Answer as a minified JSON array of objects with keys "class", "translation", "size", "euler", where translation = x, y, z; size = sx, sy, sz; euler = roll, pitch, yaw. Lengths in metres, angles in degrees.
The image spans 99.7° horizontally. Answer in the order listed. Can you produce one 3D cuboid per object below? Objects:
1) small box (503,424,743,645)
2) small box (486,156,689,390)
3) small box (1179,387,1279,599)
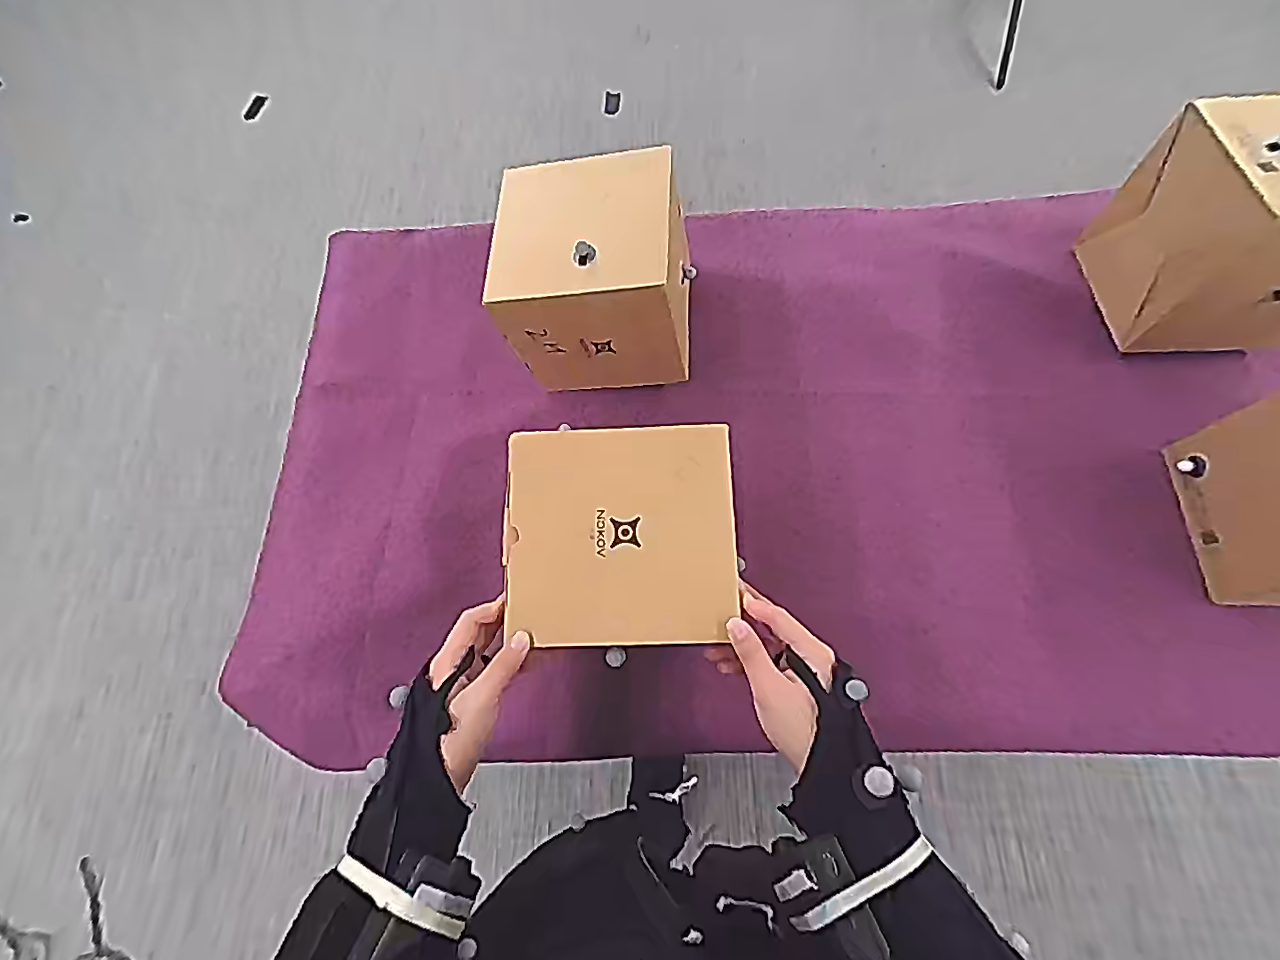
[{"class":"small box","translation":[-0.011,0.055,0.483],"size":[0.179,0.176,0.168],"euler":[-2,76,3]},{"class":"small box","translation":[-0.043,-0.214,0.579],"size":[0.179,0.168,0.176],"euler":[-1,69,11]},{"class":"small box","translation":[0.631,0.010,0.465],"size":[0.179,0.176,0.168],"euler":[1,69,4]}]
